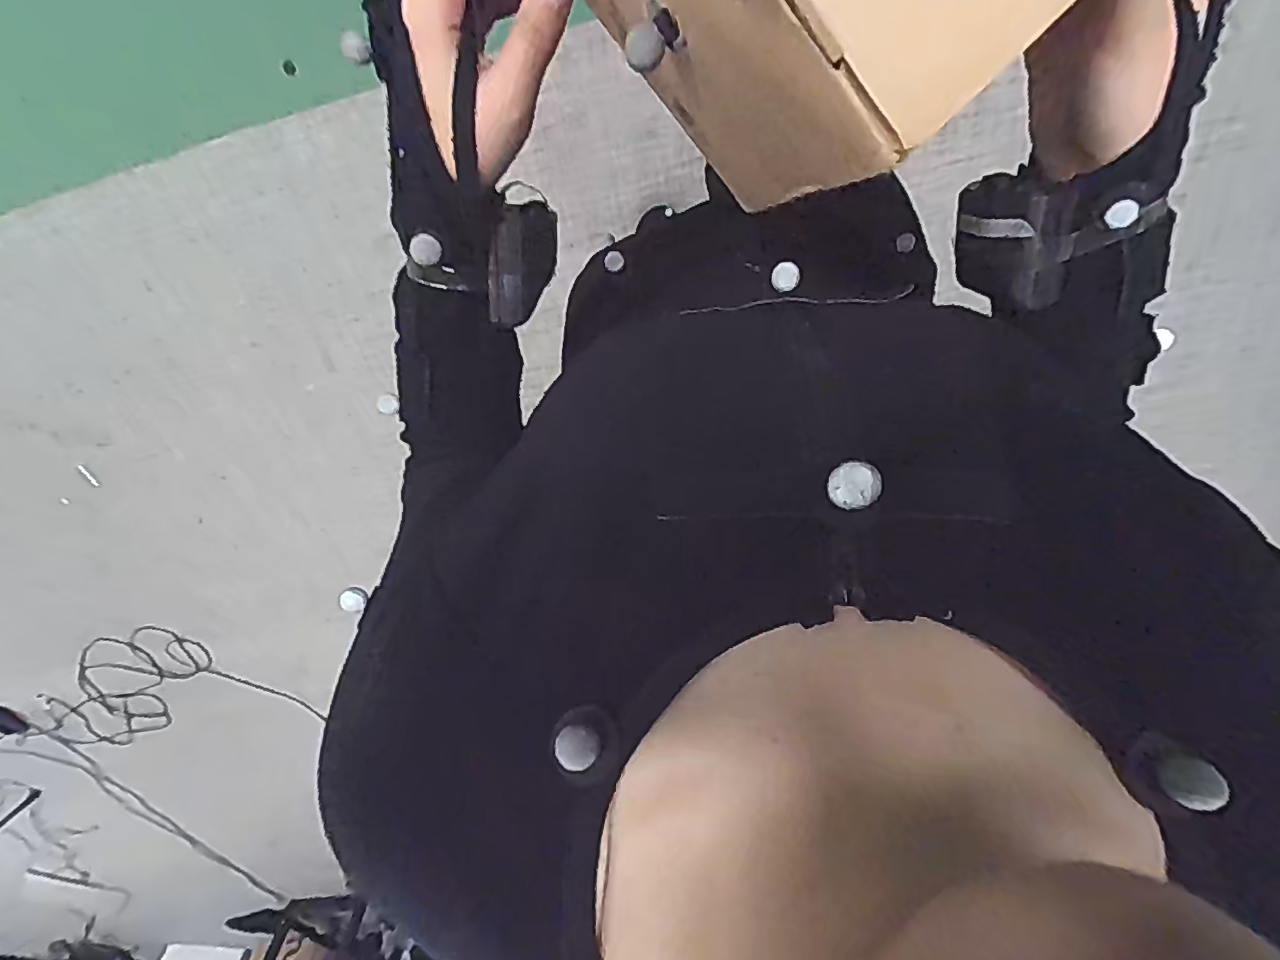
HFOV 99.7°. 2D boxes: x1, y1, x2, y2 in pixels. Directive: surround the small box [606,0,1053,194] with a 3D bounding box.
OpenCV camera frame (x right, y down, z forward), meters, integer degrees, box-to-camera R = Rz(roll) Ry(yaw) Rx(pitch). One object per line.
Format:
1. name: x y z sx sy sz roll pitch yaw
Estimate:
1. small box: 0.074 -0.231 0.189 0.179 0.176 0.168 -42 109 14
